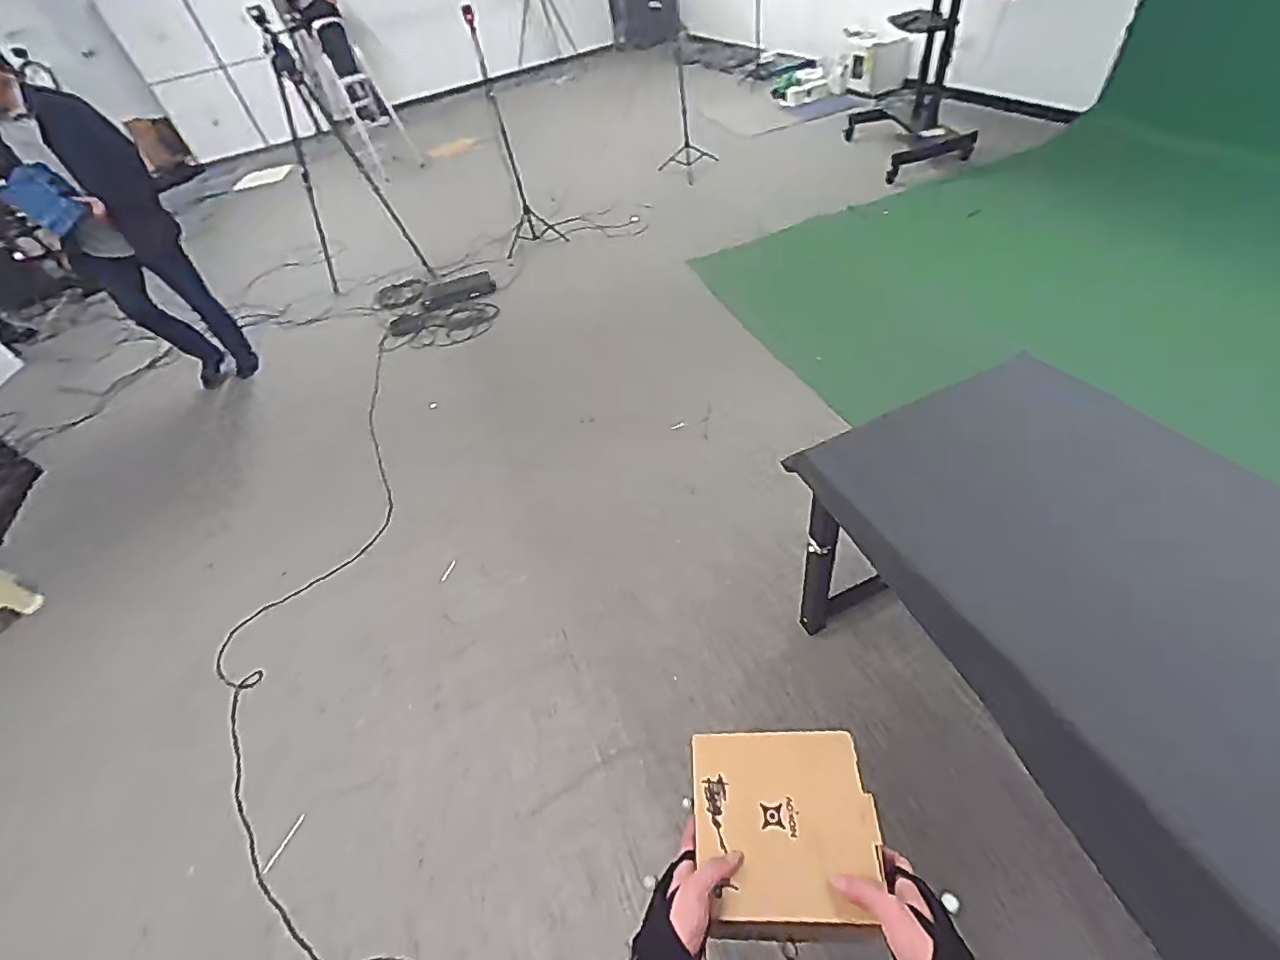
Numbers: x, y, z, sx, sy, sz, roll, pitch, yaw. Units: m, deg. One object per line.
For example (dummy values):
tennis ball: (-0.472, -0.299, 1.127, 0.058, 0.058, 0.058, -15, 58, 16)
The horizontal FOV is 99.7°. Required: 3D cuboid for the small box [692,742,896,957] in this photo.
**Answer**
small box: (0.150, 0.399, 0.587, 0.179, 0.176, 0.168, -4, 44, 7)
